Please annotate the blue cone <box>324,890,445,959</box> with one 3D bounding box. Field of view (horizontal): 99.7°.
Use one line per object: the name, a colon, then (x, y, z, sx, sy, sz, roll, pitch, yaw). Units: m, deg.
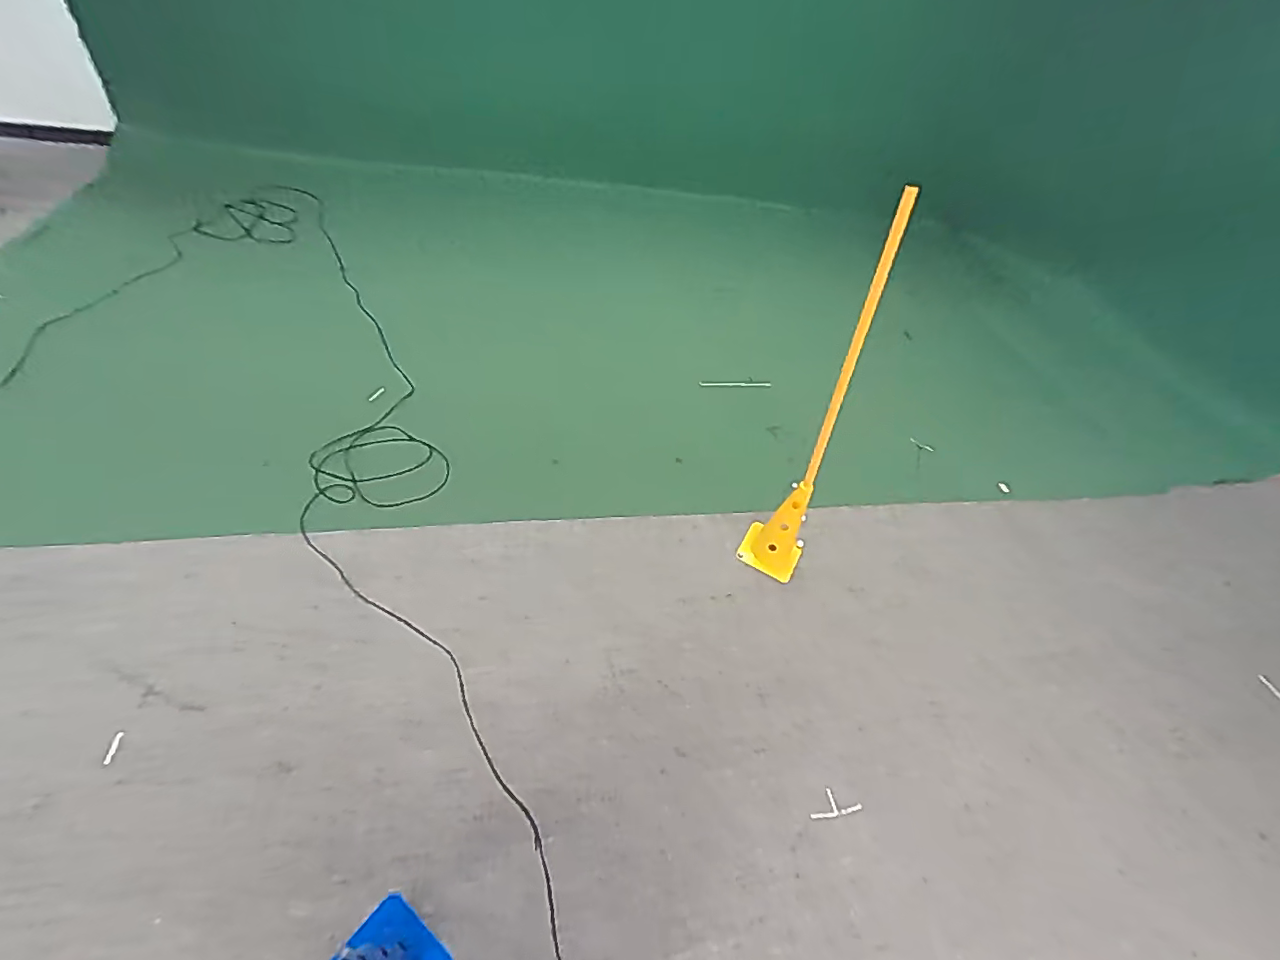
blue cone: (-0.476, 0.845, 0.928, 0.192, 0.380, 0.193, 33, 52, 17)
